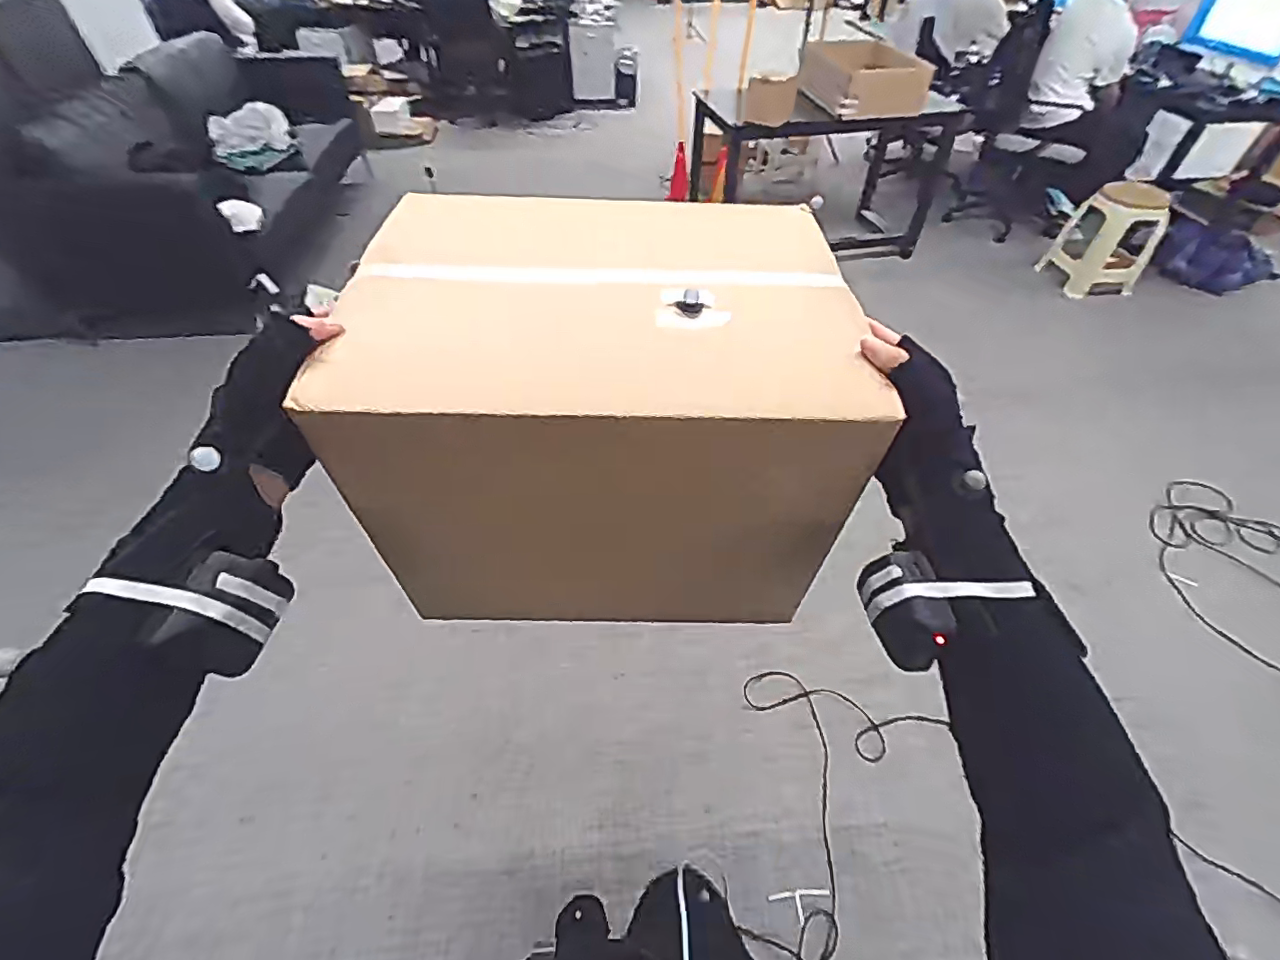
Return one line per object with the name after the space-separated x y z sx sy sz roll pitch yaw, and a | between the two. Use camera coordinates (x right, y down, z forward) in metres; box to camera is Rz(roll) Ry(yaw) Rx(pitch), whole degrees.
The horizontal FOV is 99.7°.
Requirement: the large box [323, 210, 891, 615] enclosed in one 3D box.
-0.029 -0.062 0.580 0.408 0.320 0.320 1 51 -3 | large box
